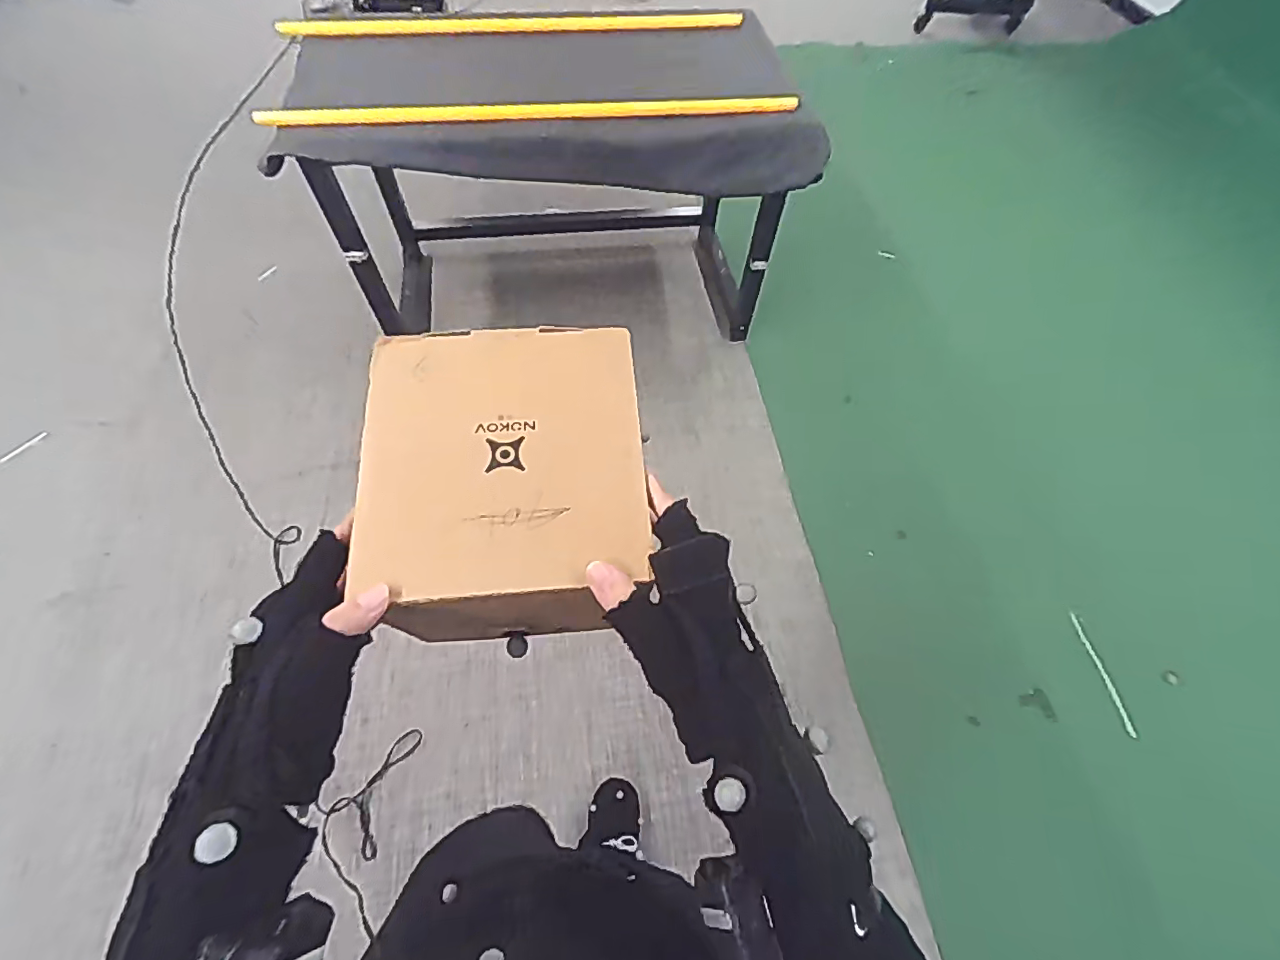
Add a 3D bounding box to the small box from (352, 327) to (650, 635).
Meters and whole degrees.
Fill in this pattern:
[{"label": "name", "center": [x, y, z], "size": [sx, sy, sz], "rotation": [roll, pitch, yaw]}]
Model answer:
[{"label": "small box", "center": [-0.087, 0.009, 0.404], "size": [0.168, 0.176, 0.179], "rotation": [-4, 67, -5]}]
